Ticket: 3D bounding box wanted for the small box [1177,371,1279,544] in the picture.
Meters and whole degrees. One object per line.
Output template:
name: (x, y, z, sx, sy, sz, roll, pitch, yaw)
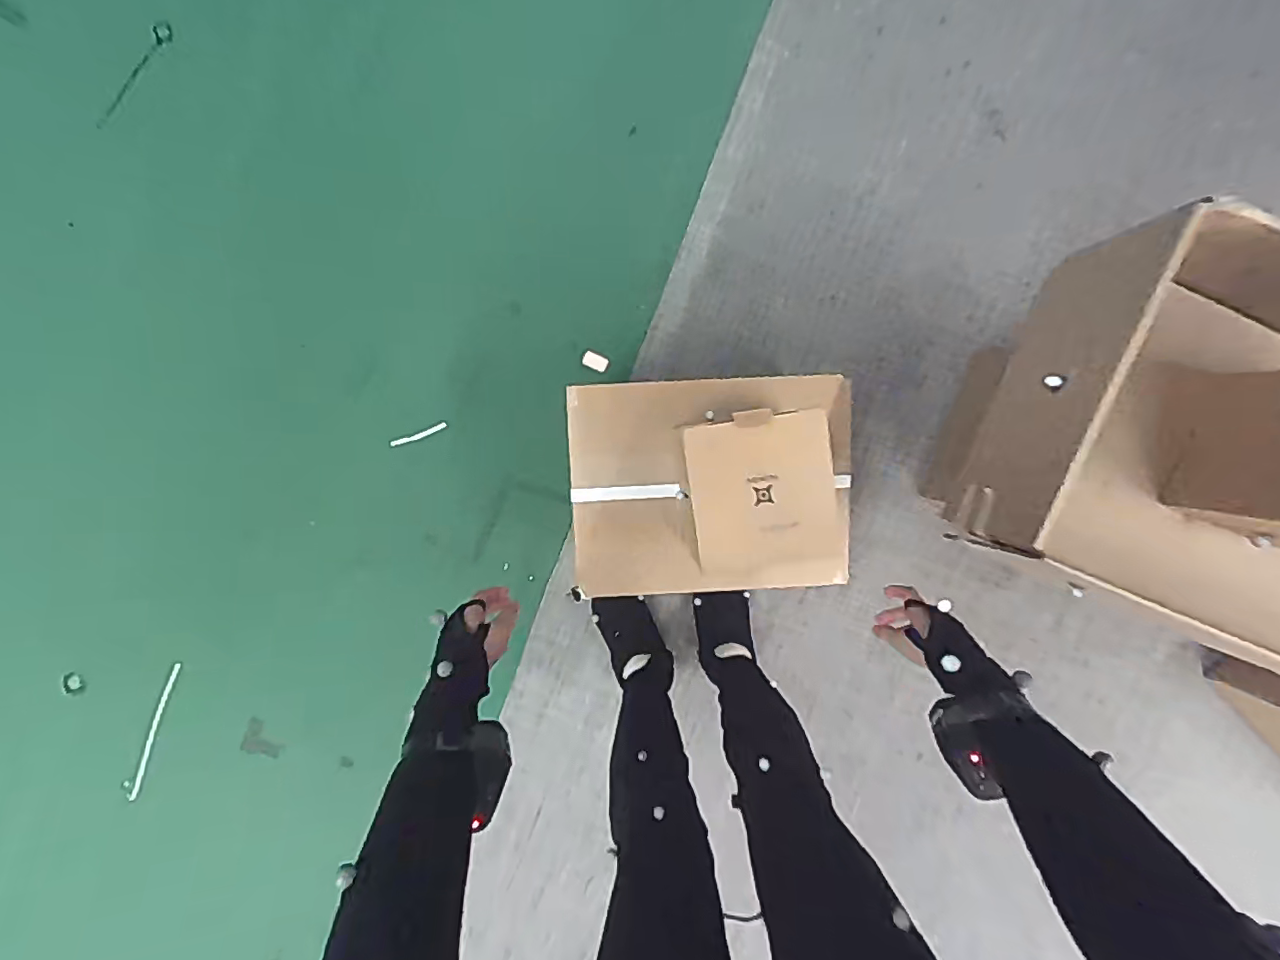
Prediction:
small box: (0.766, -0.018, 0.594, 0.168, 0.176, 0.179, 21, 96, -2)
